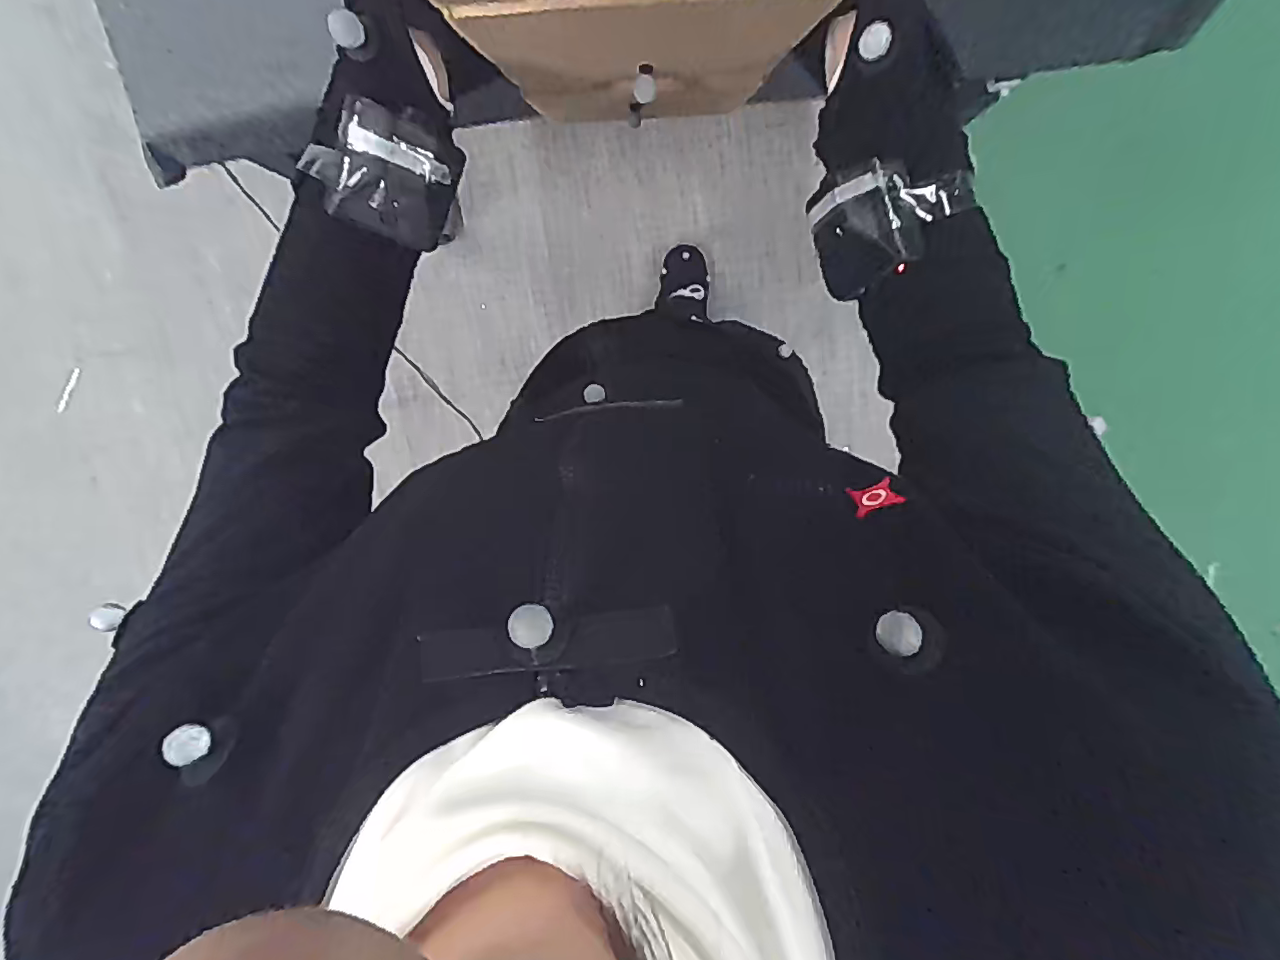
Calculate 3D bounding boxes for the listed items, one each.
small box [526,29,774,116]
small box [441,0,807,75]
[{"bbox_3d":[-0.004,-0.392,0.412,0.179,0.176,0.168,-6,118,2],"label":"small box"},{"bbox_3d":[-0.007,-0.319,0.264,0.179,0.176,0.168,-3,116,2],"label":"small box"}]
